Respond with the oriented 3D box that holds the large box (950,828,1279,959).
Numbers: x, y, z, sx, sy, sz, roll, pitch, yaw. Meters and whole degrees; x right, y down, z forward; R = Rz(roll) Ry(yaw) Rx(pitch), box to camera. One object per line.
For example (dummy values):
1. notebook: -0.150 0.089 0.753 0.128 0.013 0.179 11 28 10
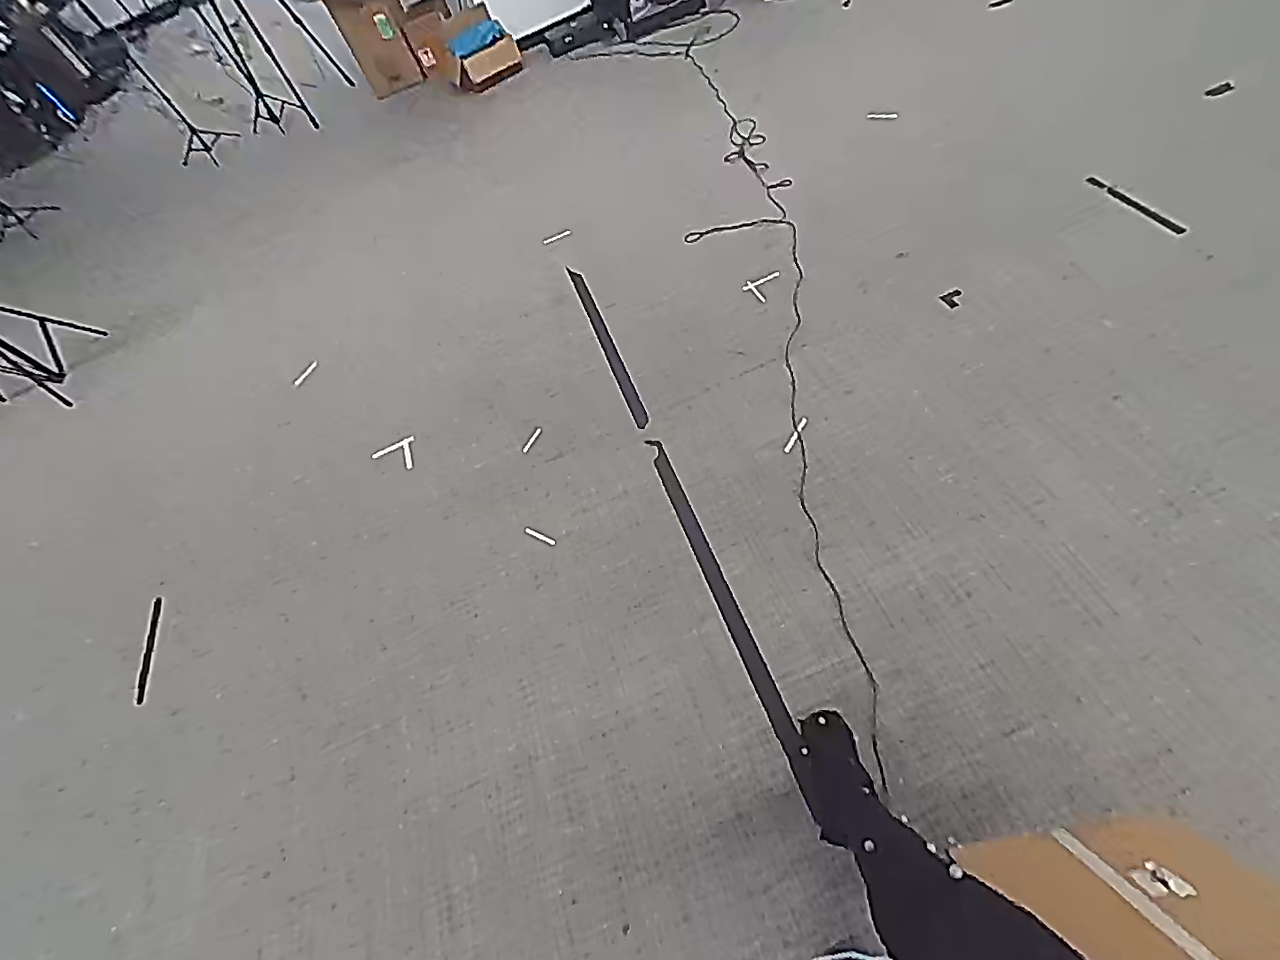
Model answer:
1. large box: 0.622 0.660 0.584 0.320 0.408 0.320 -12 81 5
